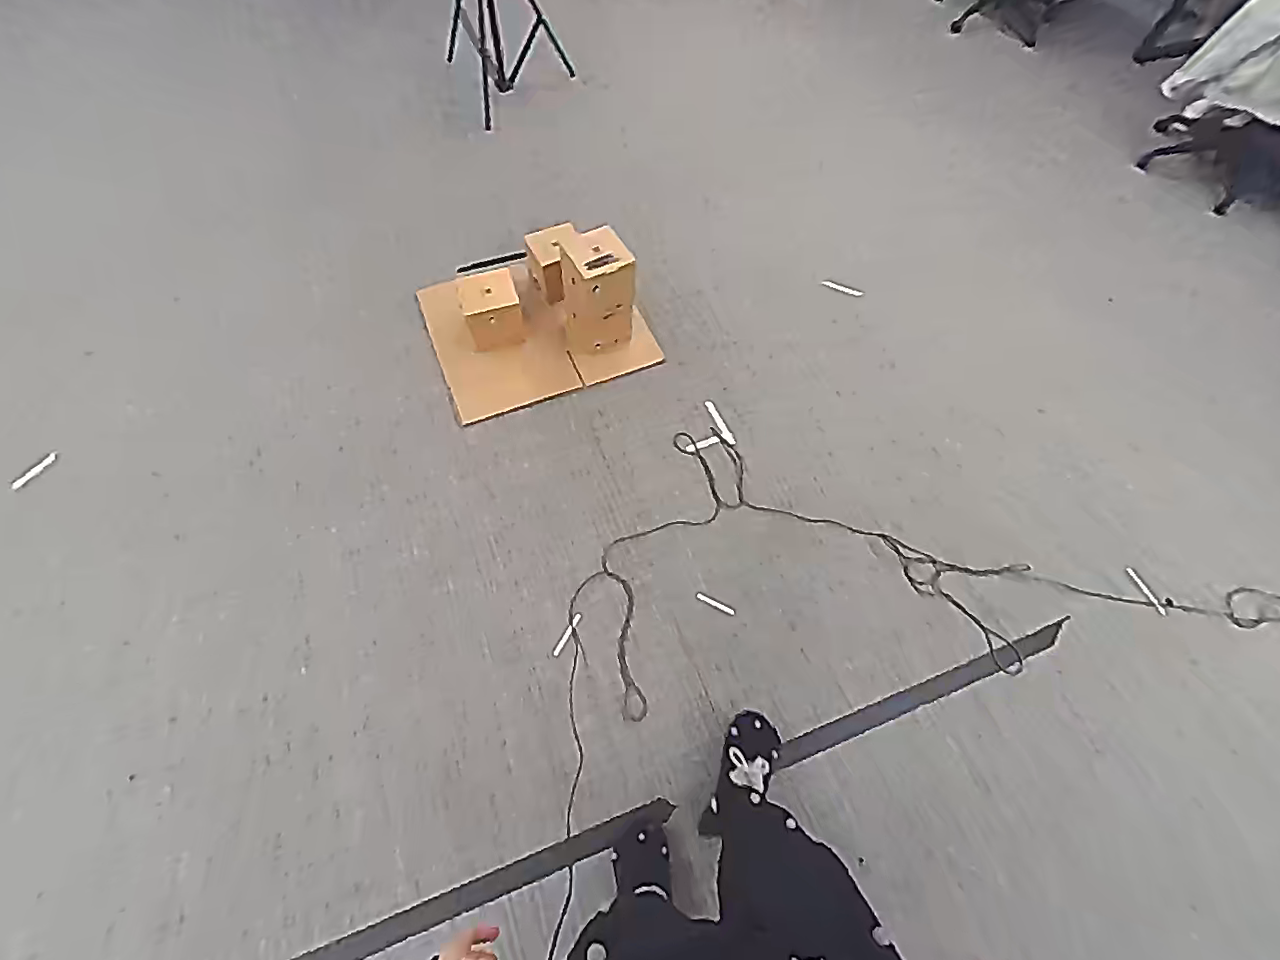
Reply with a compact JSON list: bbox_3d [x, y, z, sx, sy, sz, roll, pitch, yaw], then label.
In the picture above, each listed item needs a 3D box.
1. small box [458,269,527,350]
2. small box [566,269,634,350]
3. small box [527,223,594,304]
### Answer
[{"bbox_3d":[-0.473,-0.552,1.760,0.179,0.176,0.168,-17,65,-10],"label":"small box"},{"bbox_3d":[-0.129,-0.553,1.779,0.168,0.176,0.179,-24,66,-15],"label":"small box"},{"bbox_3d":[-0.271,-0.748,1.876,0.179,0.176,0.168,-25,65,-14],"label":"small box"}]
